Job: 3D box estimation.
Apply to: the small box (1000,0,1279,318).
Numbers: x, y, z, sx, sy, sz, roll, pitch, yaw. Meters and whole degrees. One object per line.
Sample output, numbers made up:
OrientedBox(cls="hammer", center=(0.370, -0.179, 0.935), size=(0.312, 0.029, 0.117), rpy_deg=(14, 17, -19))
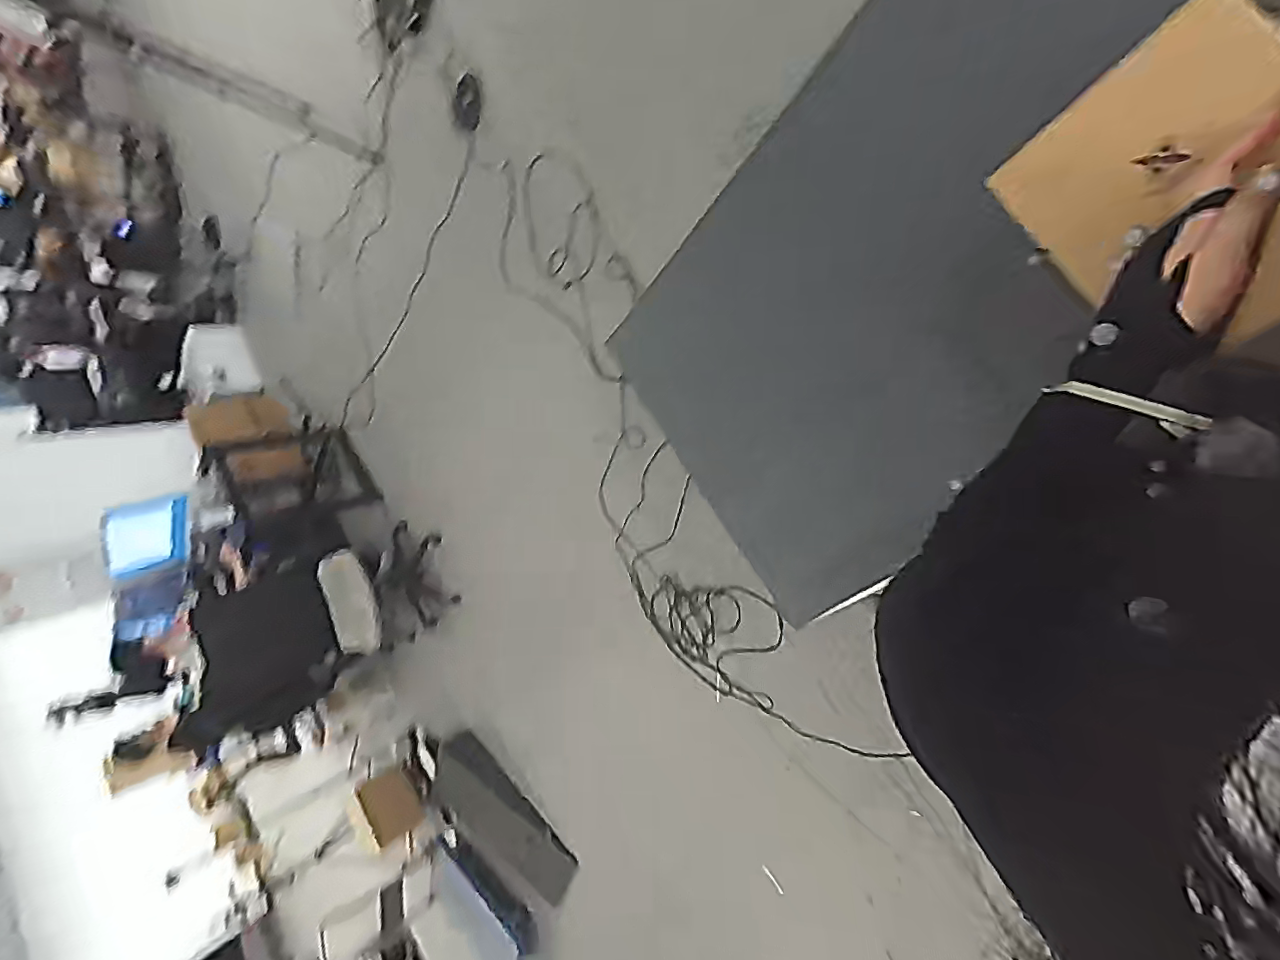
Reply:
OrientedBox(cls="small box", center=(0.452, -0.255, 0.462), size=(0.168, 0.176, 0.179), rpy_deg=(-43, 73, 39))
